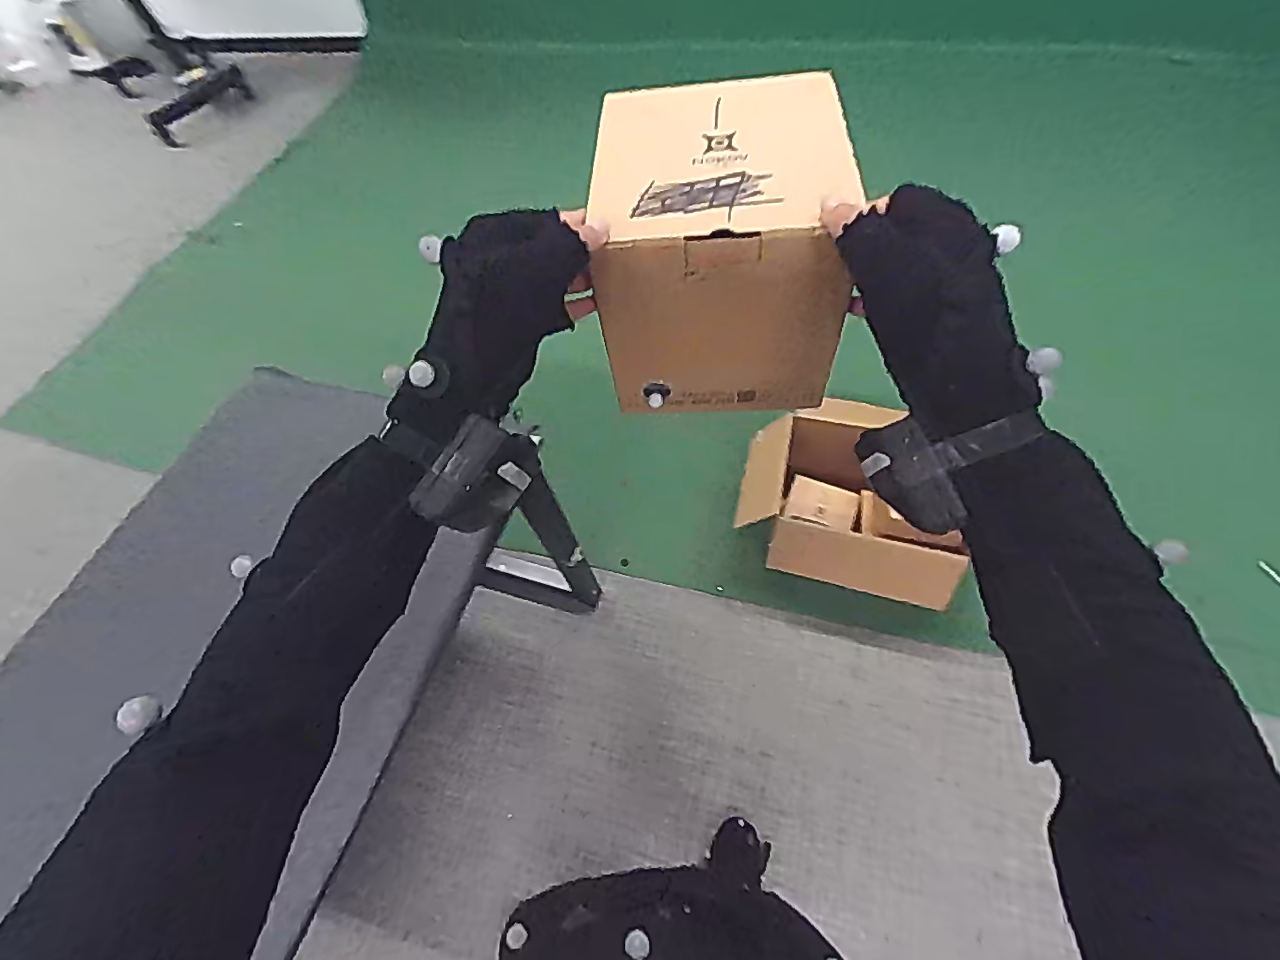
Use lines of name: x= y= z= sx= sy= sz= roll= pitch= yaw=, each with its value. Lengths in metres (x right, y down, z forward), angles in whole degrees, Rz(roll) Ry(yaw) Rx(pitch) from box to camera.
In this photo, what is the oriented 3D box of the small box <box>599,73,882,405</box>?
small box: x=0.071 y=-0.172 z=0.420 sx=0.168 sy=0.176 sz=0.179 roll=0 pitch=60 yaw=7
